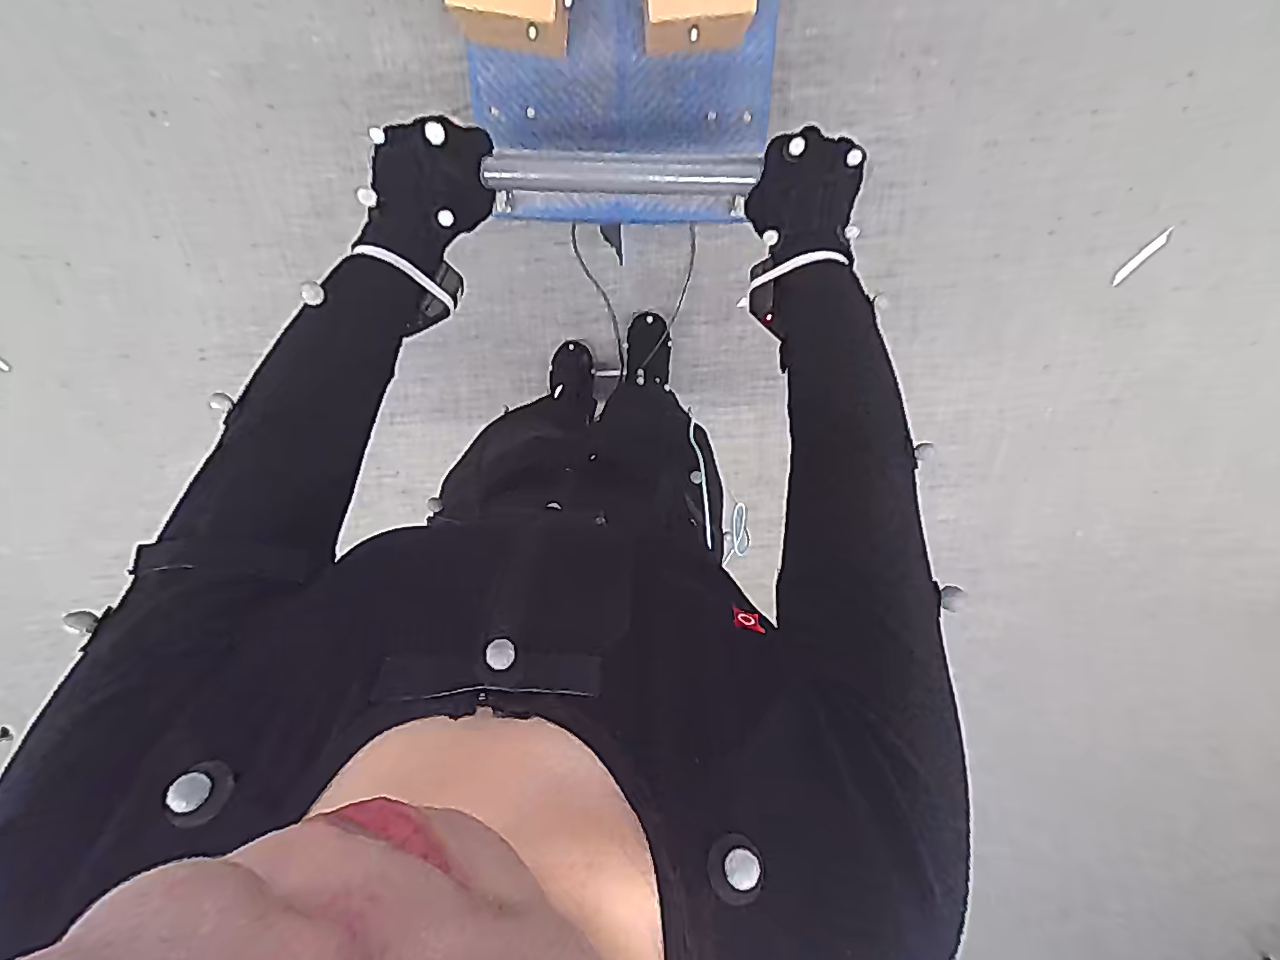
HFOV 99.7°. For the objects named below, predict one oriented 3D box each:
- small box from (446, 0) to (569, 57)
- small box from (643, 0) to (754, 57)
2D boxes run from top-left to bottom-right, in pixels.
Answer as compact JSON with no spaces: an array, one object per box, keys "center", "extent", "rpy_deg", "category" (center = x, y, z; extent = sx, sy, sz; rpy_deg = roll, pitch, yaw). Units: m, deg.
[{"center":[-0.215,-0.847,0.910],"extent":[0.179,0.176,0.168],"rpy_deg":[5,111,-5],"category":"small box"},{"center":[0.092,-0.847,0.916],"extent":[0.179,0.176,0.168],"rpy_deg":[-5,112,1],"category":"small box"}]
